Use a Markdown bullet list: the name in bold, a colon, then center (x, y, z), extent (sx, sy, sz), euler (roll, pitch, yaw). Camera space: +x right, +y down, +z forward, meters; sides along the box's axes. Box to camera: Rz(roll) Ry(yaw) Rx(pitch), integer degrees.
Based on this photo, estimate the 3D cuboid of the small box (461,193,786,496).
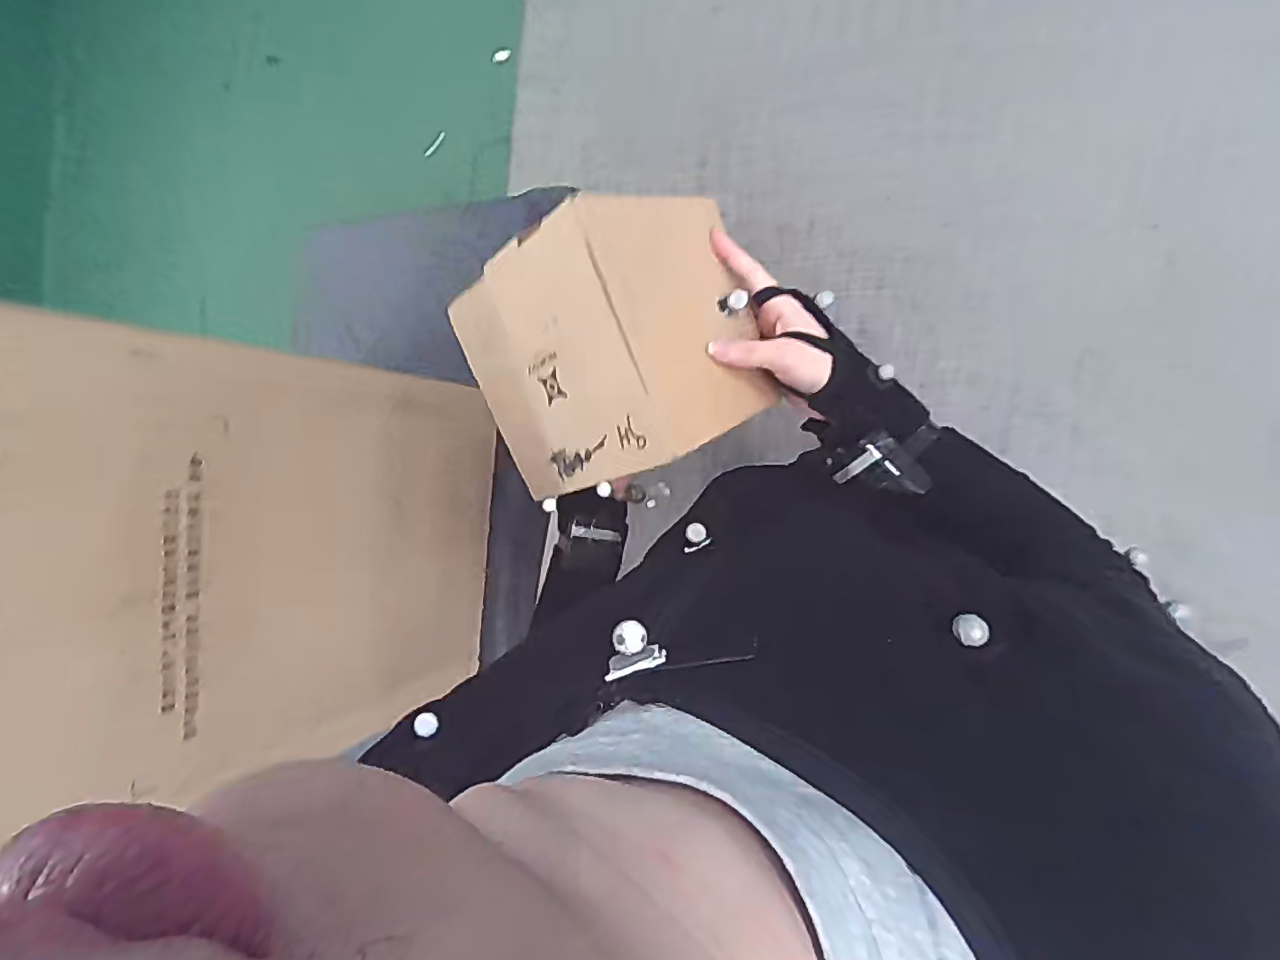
- **small box**: center (-0.008, -0.108, 0.450), extent (0.168, 0.176, 0.179), euler (-16, 100, 45)
